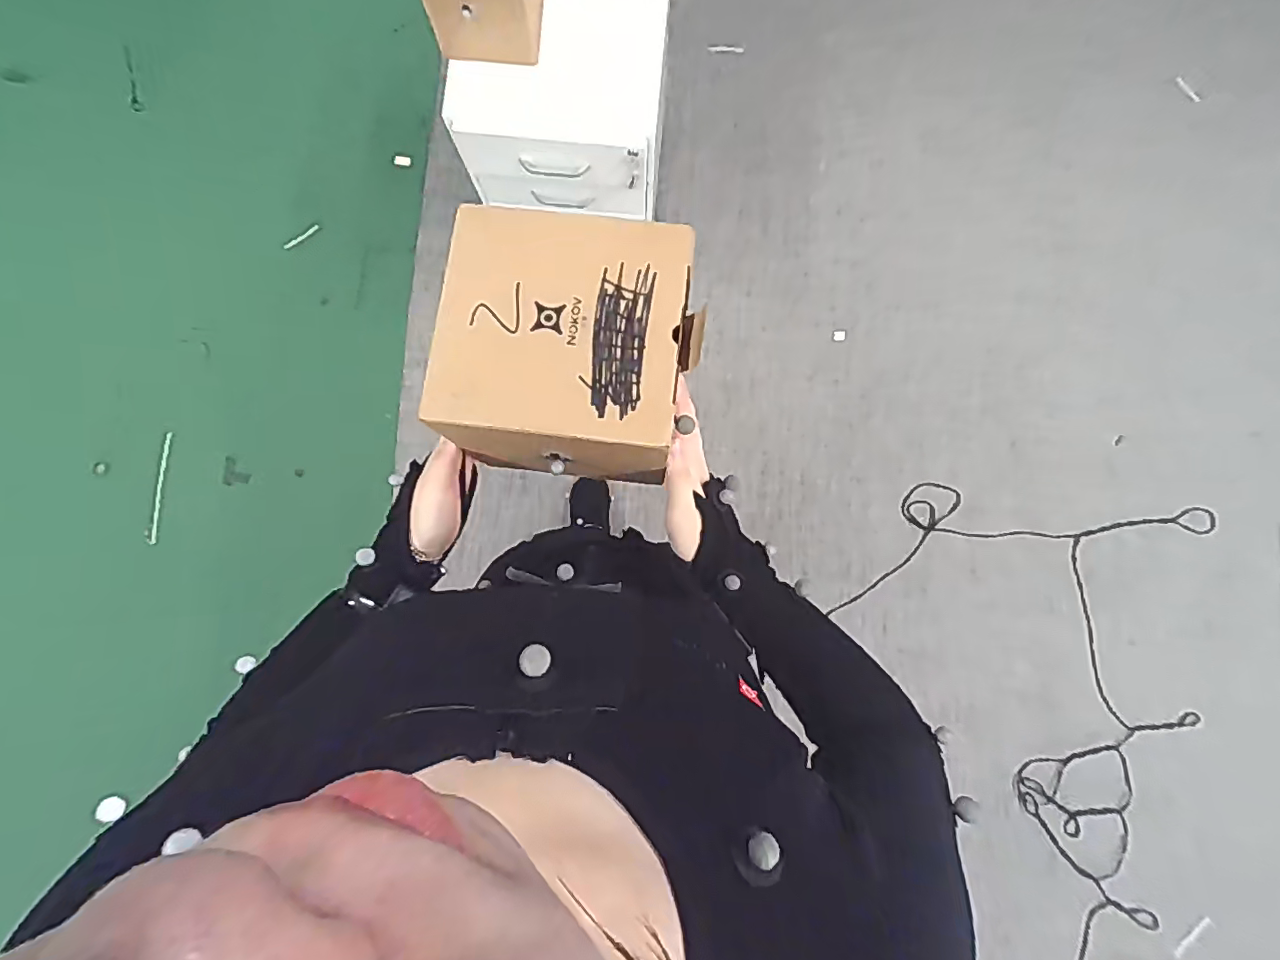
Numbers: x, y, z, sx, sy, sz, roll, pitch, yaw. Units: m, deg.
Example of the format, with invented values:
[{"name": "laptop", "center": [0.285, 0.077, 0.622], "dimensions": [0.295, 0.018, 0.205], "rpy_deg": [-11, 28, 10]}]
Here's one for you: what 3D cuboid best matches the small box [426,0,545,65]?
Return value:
[{"name": "small box", "center": [-0.269, -0.856, 0.926], "dimensions": [0.179, 0.176, 0.168], "rpy_deg": [4, 85, -1]}]
